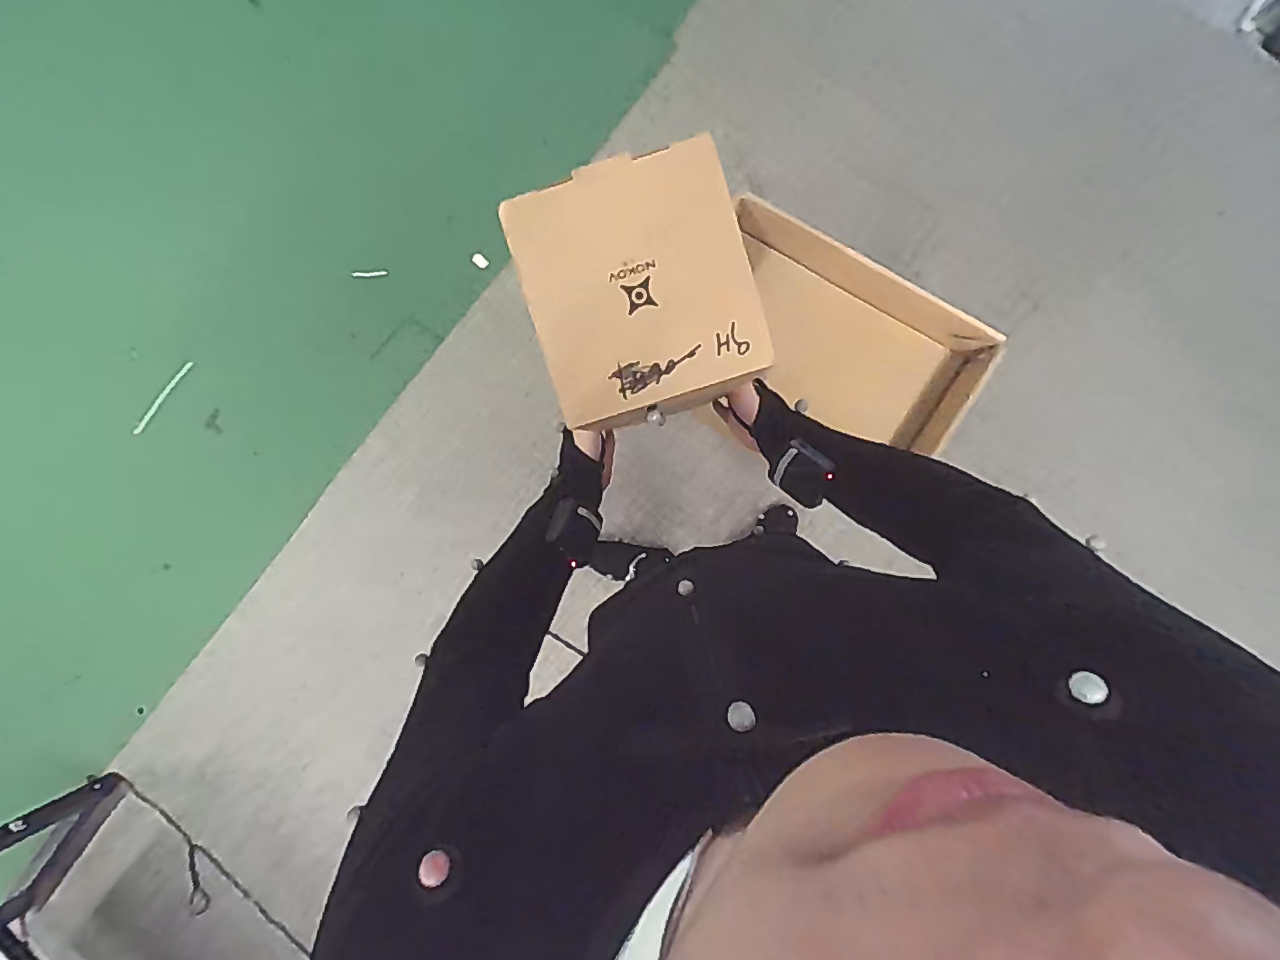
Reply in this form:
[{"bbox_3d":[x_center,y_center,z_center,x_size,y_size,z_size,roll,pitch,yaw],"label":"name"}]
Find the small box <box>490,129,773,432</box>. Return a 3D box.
[{"bbox_3d":[-0.005,-0.146,0.464,0.168,0.176,0.179,-18,94,3],"label":"small box"}]
